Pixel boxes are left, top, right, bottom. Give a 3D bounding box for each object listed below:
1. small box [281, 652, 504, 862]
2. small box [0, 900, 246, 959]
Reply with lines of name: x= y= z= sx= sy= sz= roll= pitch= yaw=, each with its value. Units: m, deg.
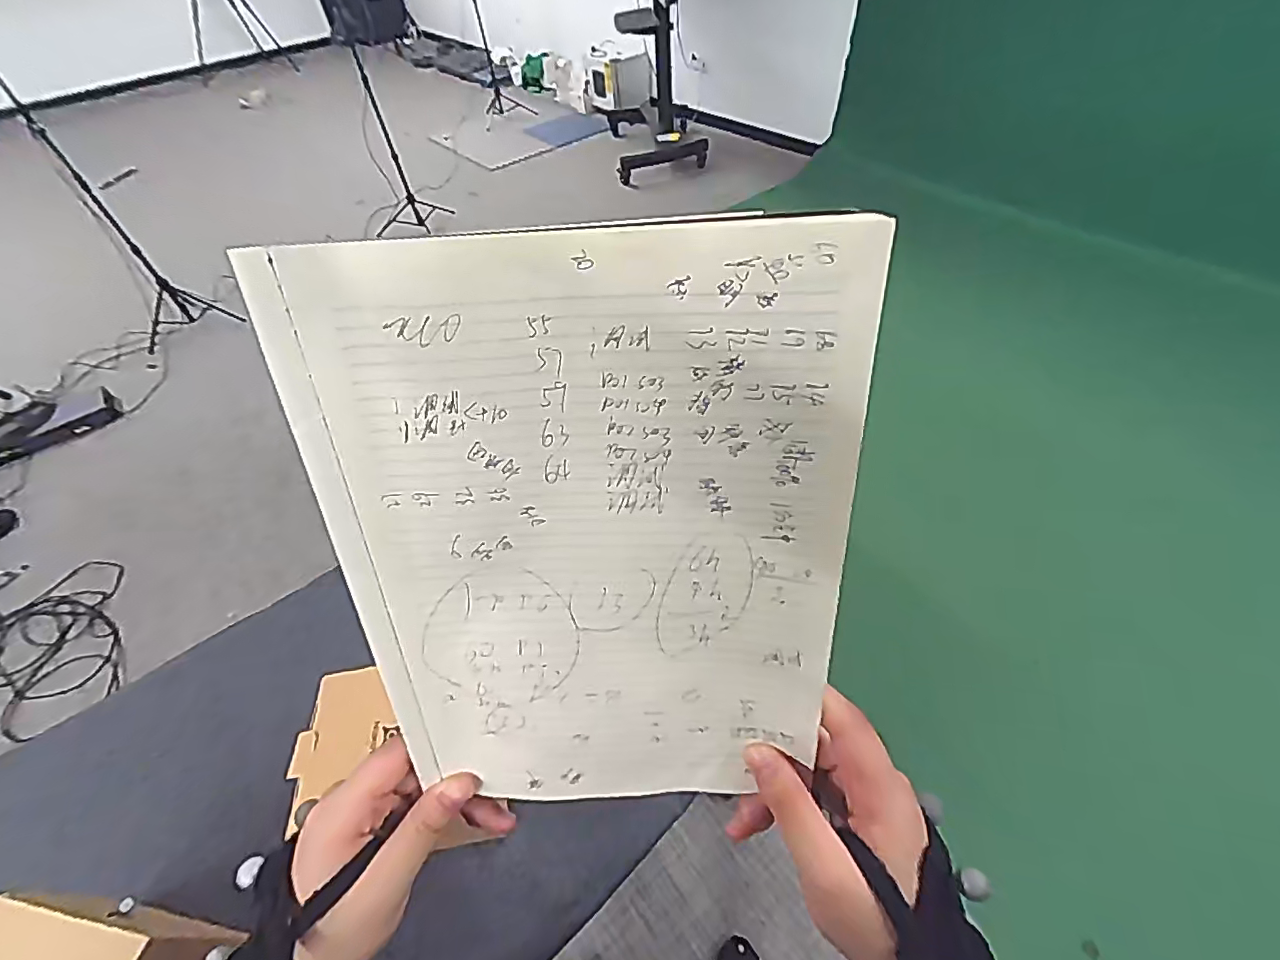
small box: x=-0.262 y=0.323 z=0.627 sx=0.179 sy=0.176 sz=0.168 roll=-11 pitch=49 yaw=-3
small box: x=-0.521 y=0.506 z=0.492 sx=0.179 sy=0.176 sz=0.168 roll=5 pitch=49 yaw=10
